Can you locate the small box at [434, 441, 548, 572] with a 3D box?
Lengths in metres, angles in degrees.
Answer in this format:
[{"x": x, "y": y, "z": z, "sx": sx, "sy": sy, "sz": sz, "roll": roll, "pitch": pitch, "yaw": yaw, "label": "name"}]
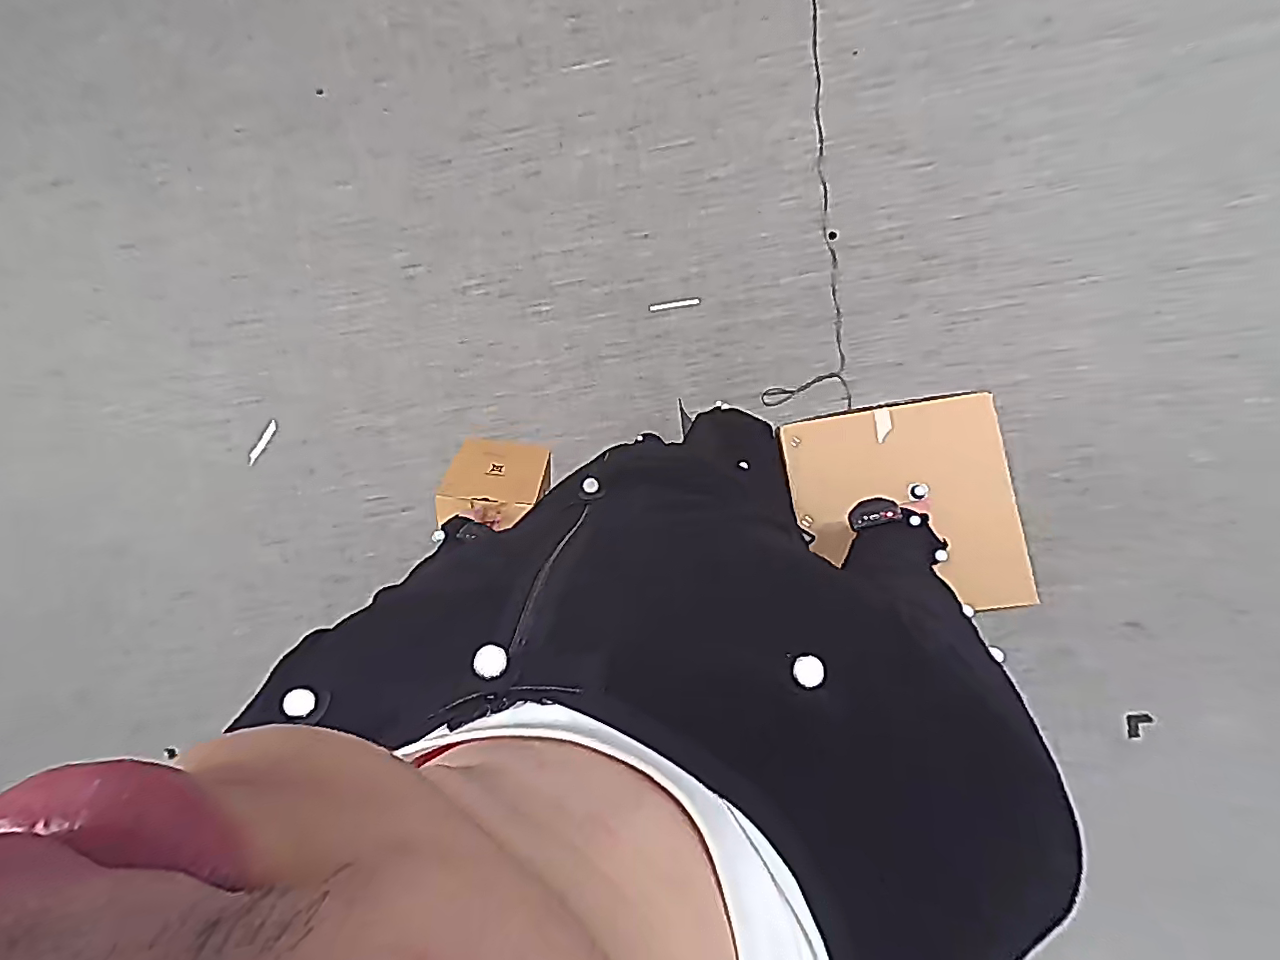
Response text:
[{"x": -0.265, "y": 0.050, "z": 1.004, "sx": 0.168, "sy": 0.179, "sz": 0.176, "roll": 6, "pitch": 126, "yaw": -3, "label": "small box"}]
